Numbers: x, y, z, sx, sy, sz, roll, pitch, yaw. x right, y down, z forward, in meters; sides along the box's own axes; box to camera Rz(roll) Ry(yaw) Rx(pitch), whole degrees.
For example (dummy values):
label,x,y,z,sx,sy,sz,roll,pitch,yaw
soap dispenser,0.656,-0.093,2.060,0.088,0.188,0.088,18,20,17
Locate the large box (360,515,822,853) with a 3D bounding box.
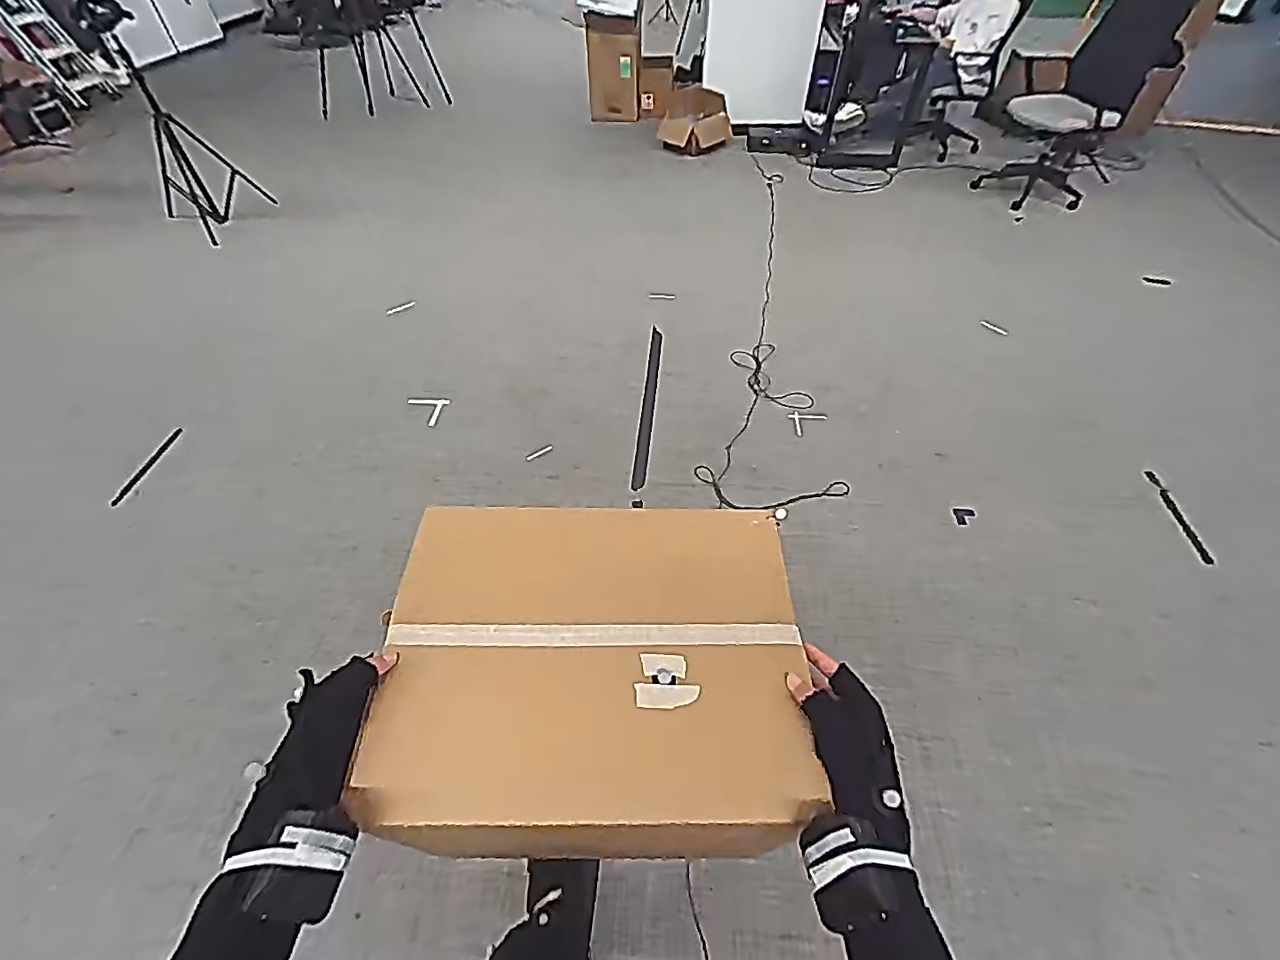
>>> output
label,x,y,z,sx,sy,sz,roll,pitch,yaw
large box,-0.048,0.256,0.666,0.408,0.320,0.320,1,52,-2
